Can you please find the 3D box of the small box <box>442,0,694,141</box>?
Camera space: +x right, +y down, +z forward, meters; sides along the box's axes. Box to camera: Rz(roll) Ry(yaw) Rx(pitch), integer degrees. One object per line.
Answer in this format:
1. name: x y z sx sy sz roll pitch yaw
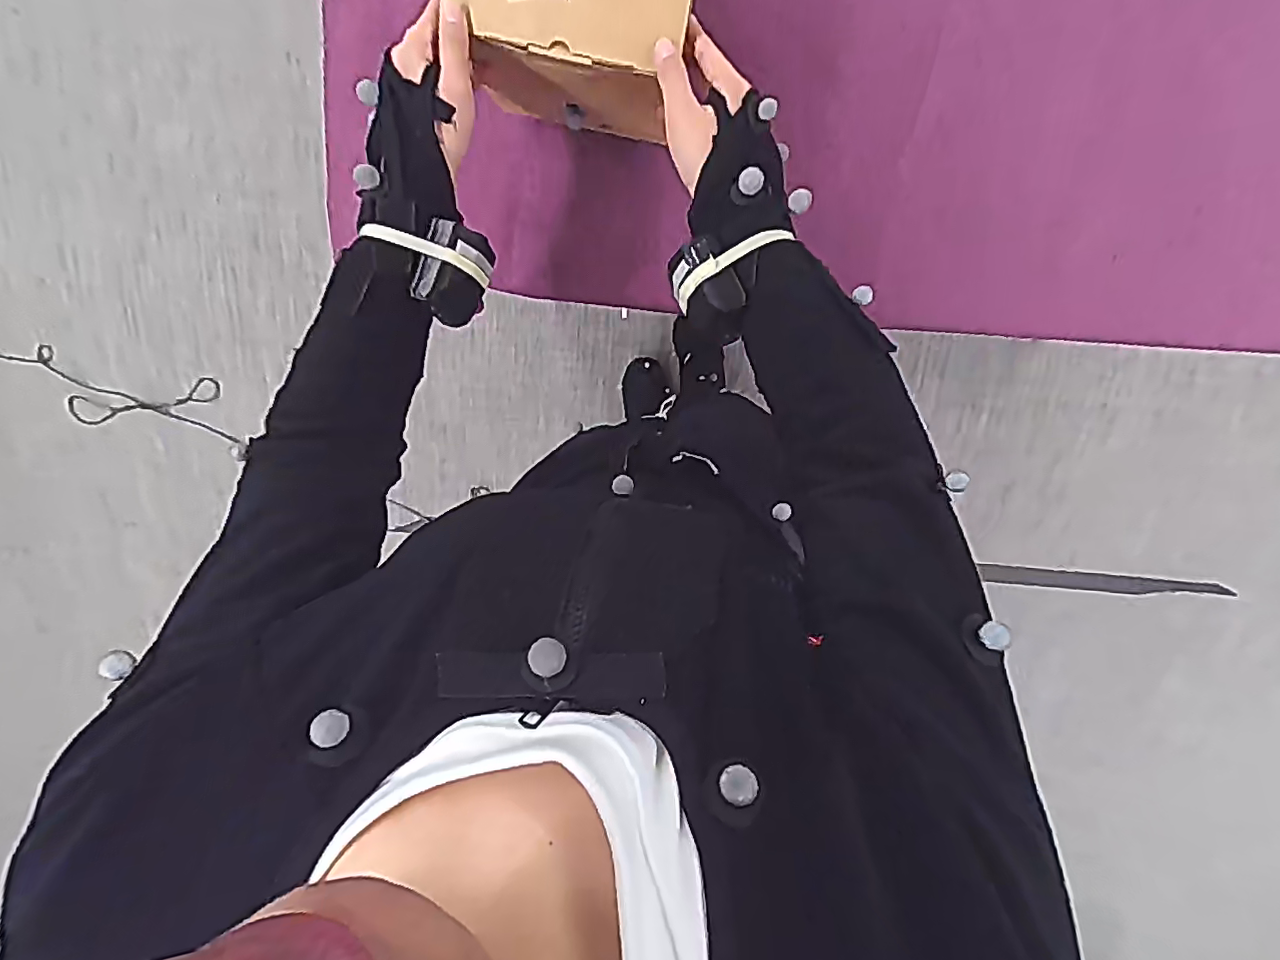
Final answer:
1. small box: -0.038 -0.398 0.420 0.168 0.176 0.179 10 108 -3
